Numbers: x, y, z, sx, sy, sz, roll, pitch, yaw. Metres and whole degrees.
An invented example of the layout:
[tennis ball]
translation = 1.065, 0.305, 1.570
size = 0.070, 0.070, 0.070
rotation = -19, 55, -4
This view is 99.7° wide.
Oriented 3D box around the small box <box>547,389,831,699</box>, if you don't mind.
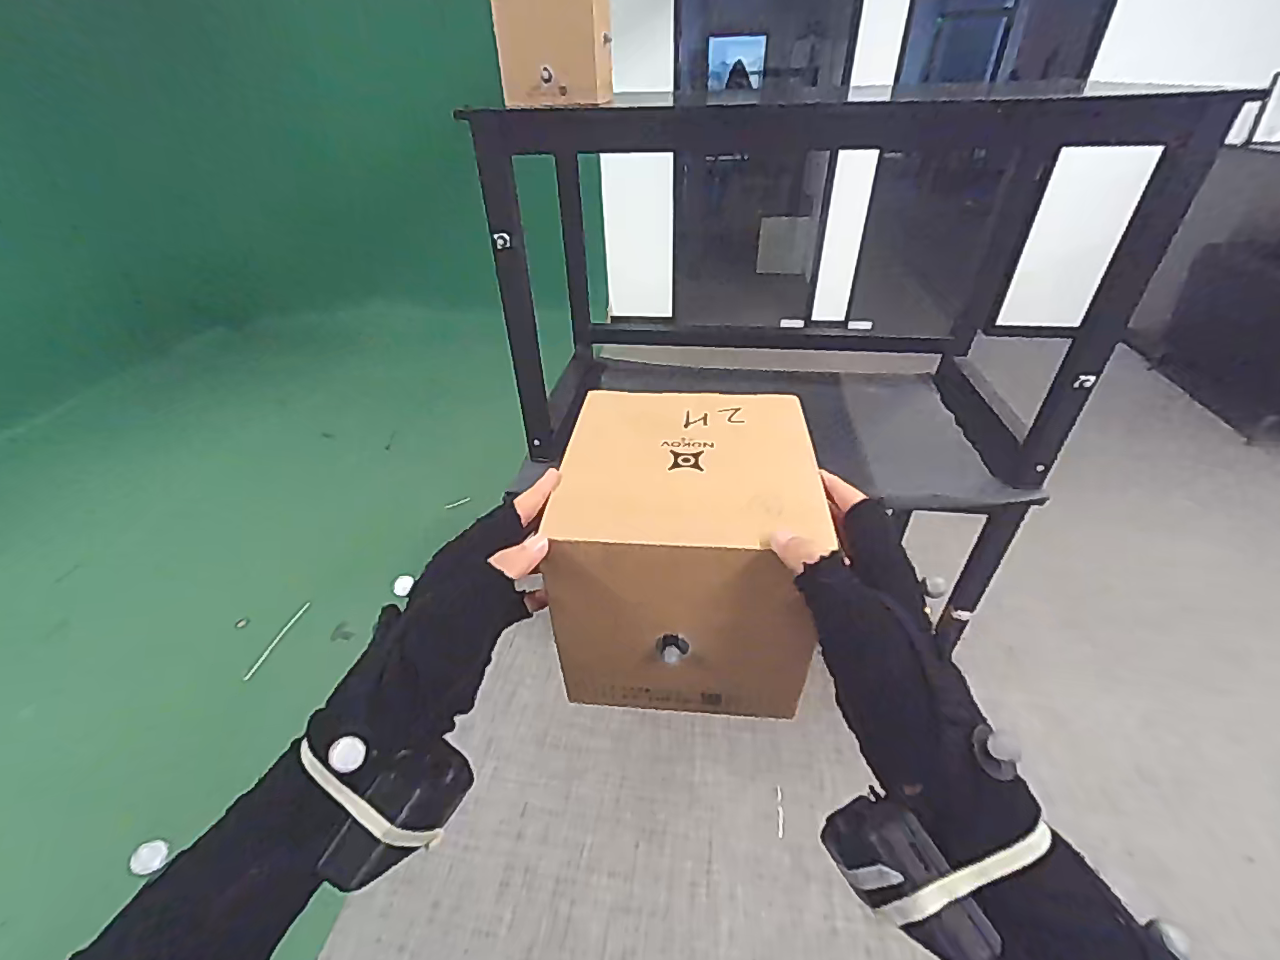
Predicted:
[small box]
translation = 0.038, 0.045, 0.418
size = 0.168, 0.176, 0.179
rotation = 3, 37, 5
